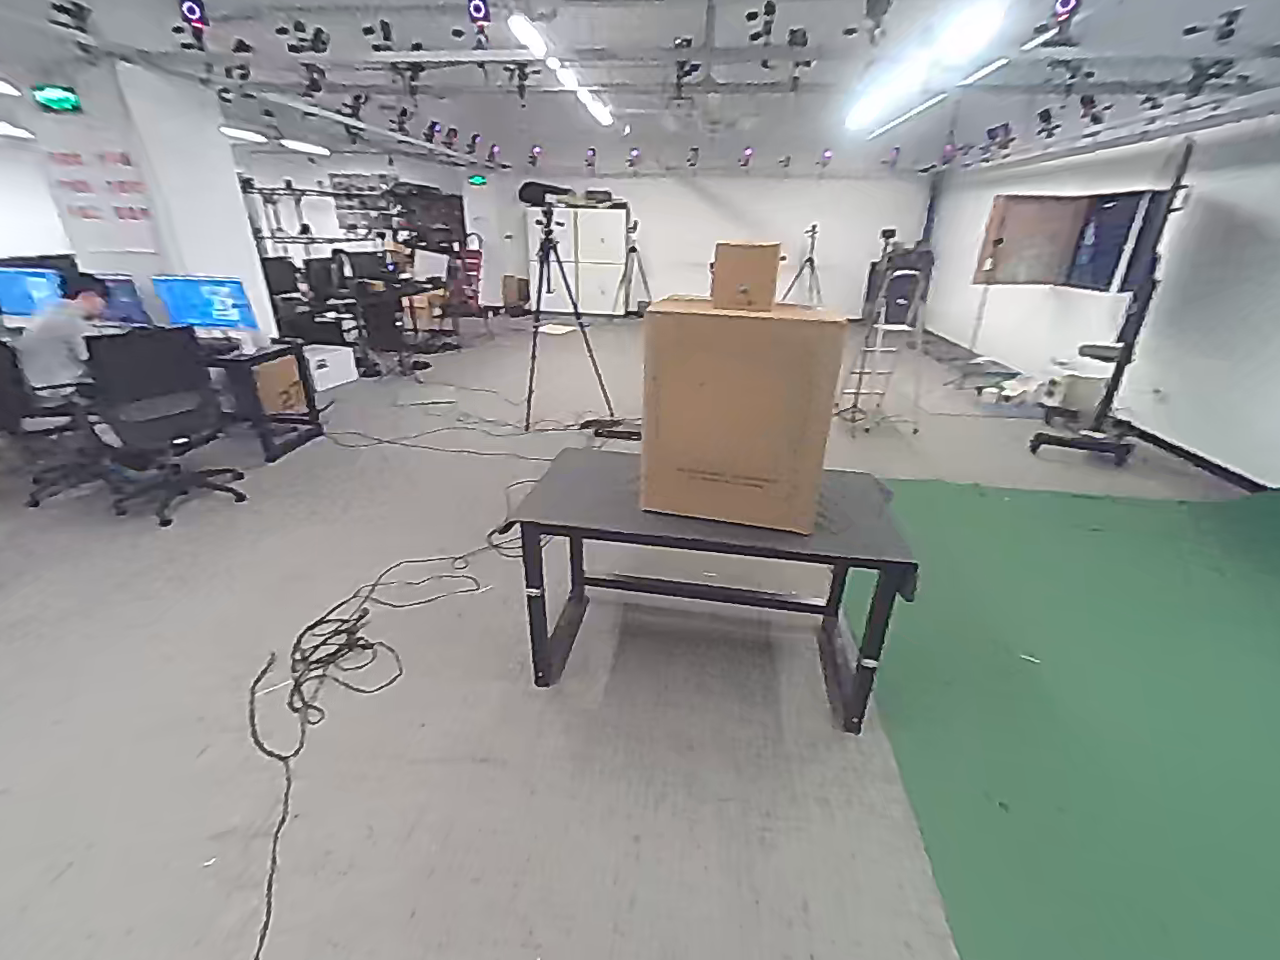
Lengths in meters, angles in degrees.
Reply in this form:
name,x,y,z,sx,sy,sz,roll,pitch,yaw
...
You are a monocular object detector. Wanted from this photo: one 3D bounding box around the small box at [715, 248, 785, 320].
name,x,y,z,sx,sy,sz,roll,pitch,yaw
small box,0.309,-0.554,1.520,0.168,0.176,0.179,8,27,14
